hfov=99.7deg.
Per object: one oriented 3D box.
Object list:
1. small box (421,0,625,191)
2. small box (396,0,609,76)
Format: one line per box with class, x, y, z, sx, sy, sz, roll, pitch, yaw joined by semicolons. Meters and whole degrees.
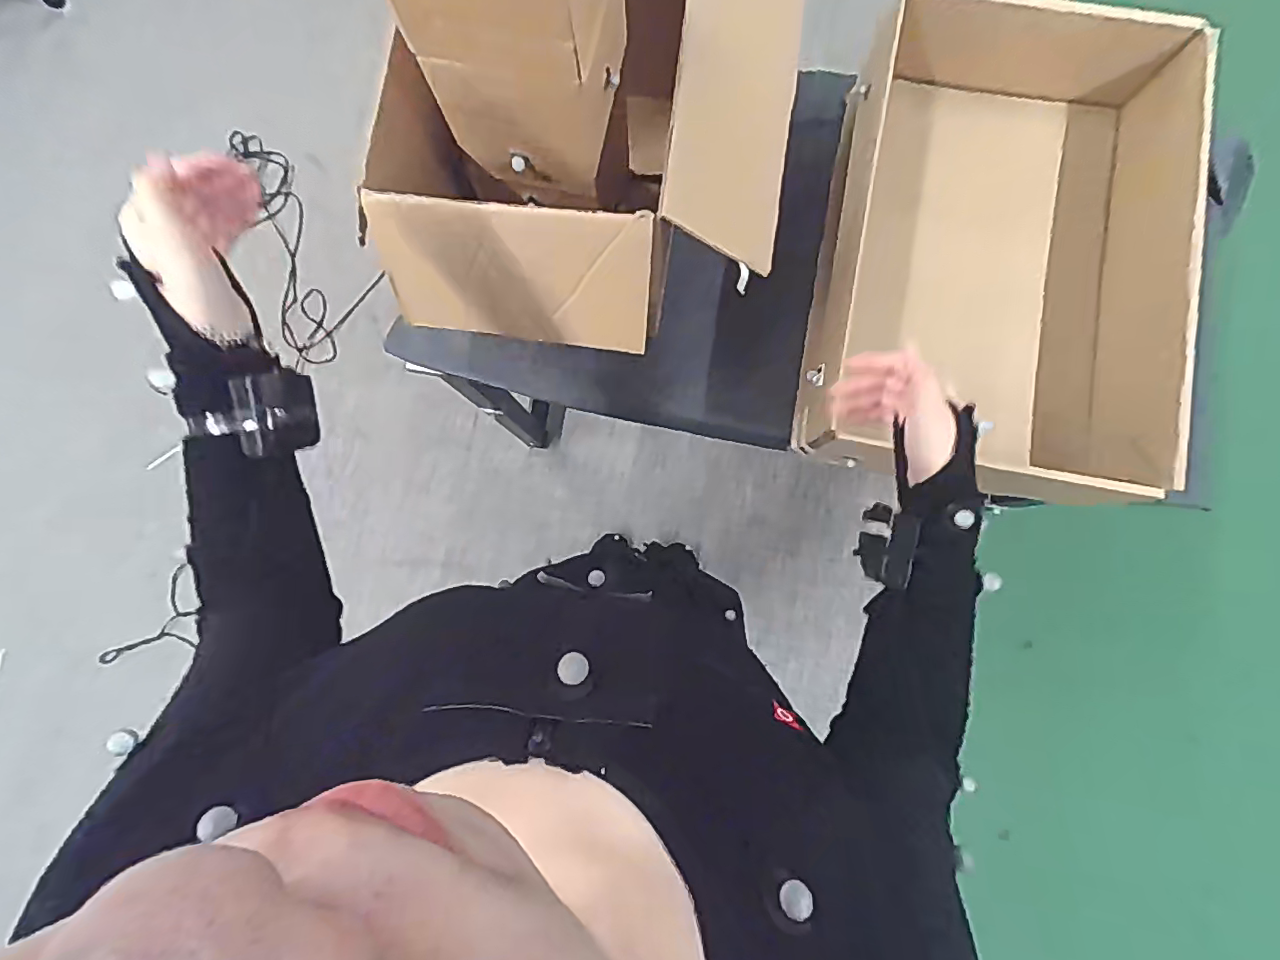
small box;-0.113;-0.467;0.605;0.168;0.176;0.179;12;86;2
small box;-0.118;-0.481;0.444;0.179;0.176;0.168;13;84;2
